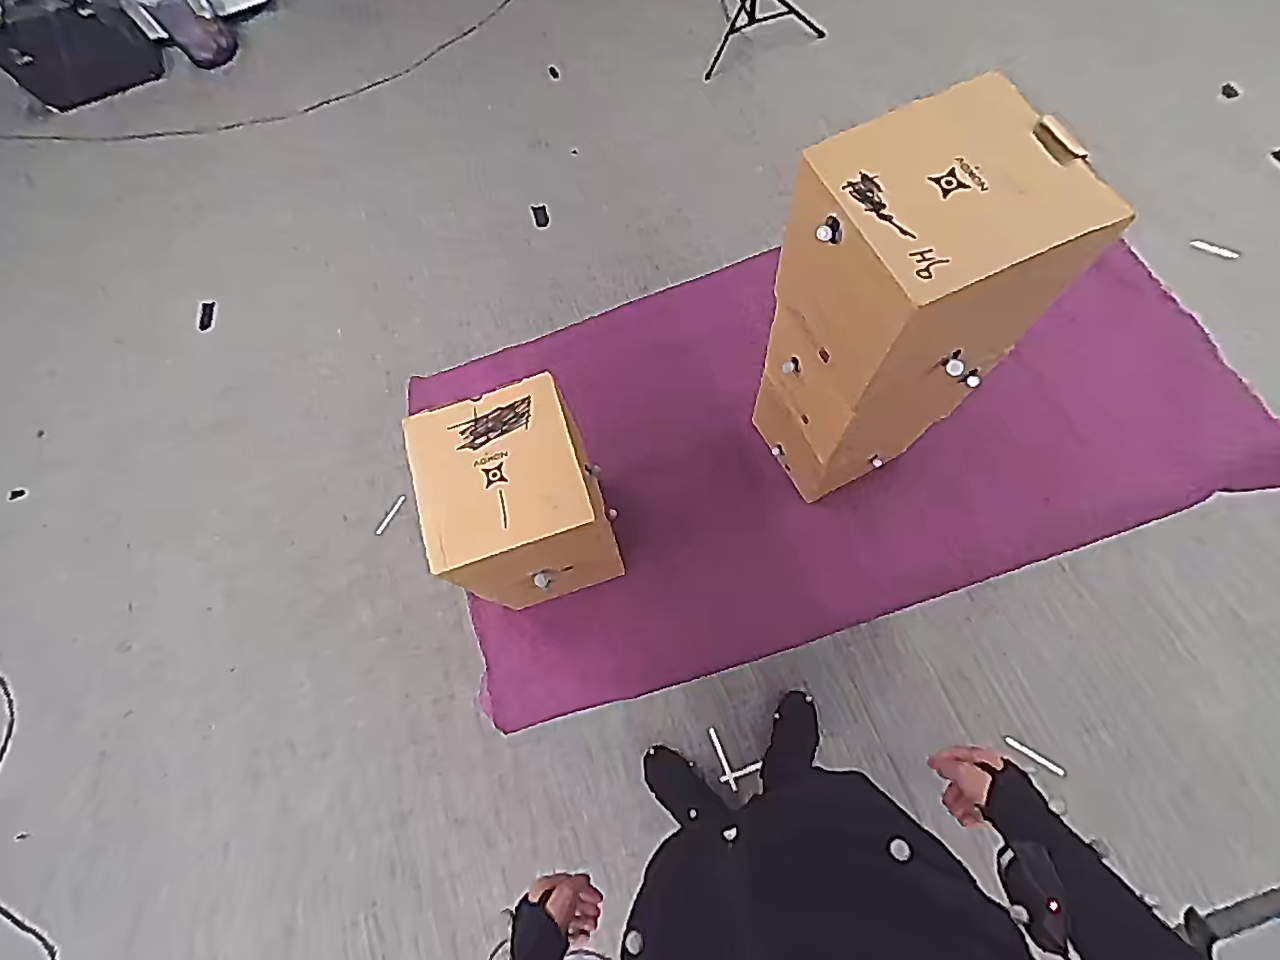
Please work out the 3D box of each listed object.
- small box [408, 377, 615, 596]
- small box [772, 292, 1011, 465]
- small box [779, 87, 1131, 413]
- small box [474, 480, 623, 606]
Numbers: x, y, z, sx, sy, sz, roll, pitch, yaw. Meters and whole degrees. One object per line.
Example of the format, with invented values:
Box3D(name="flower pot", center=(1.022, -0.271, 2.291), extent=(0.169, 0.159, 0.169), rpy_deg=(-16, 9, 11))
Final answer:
Box3D(name="small box", center=(-0.136, 0.017, 0.615), extent=(0.168, 0.176, 0.179), rpy_deg=(-18, 70, -1))
Box3D(name="small box", center=(0.268, -0.139, 0.632), extent=(0.179, 0.176, 0.168), rpy_deg=(-23, 70, -2))
Box3D(name="small box", center=(0.245, -0.187, 0.476), extent=(0.179, 0.176, 0.168), rpy_deg=(-22, 70, -3))
Box3D(name="small box", center=(-0.135, 0.071, 0.771), extent=(0.179, 0.176, 0.168), rpy_deg=(-17, 70, -2))
